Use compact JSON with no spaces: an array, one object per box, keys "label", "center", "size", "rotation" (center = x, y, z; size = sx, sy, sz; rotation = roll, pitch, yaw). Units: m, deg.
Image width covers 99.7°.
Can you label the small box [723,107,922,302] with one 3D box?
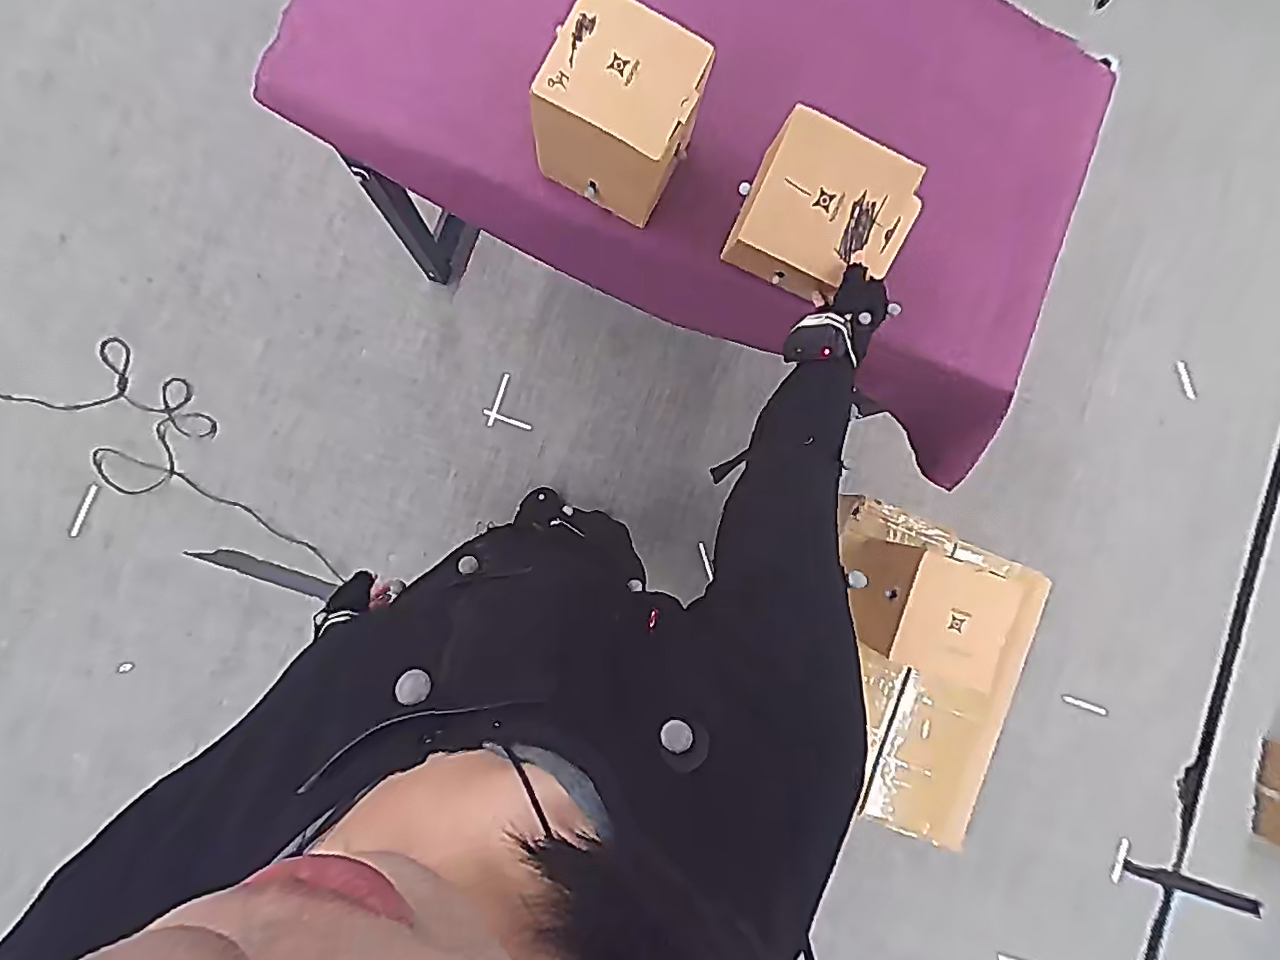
[{"label":"small box","center":[0.232,-0.356,0.740],"size":[0.179,0.176,0.168],"rotation":[24,102,-5]}]

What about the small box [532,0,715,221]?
[{"label":"small box","center":[-0.028,-0.489,0.735],"size":[0.179,0.176,0.168],"rotation":[27,85,-6]}]

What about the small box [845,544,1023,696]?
[{"label":"small box","center":[0.459,0.211,0.871],"size":[0.168,0.176,0.179],"rotation":[20,87,-3]}]
